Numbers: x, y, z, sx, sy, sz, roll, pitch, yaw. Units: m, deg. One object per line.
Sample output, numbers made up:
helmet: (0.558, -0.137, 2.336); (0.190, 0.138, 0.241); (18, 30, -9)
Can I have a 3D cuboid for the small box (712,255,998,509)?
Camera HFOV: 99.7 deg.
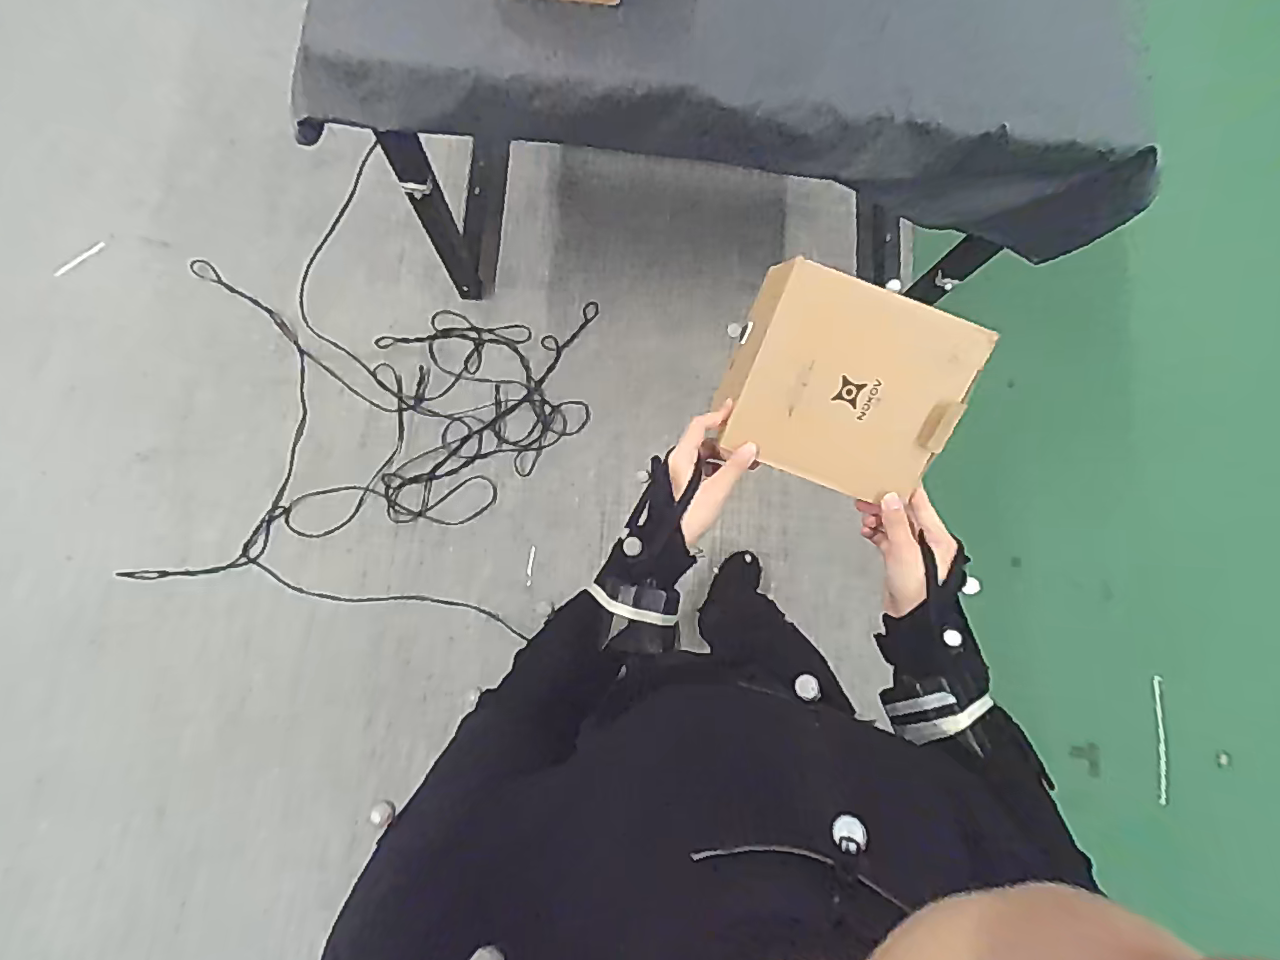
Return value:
small box: (0.181, -0.098, 0.519); (0.179, 0.176, 0.168); (20, 107, -1)
